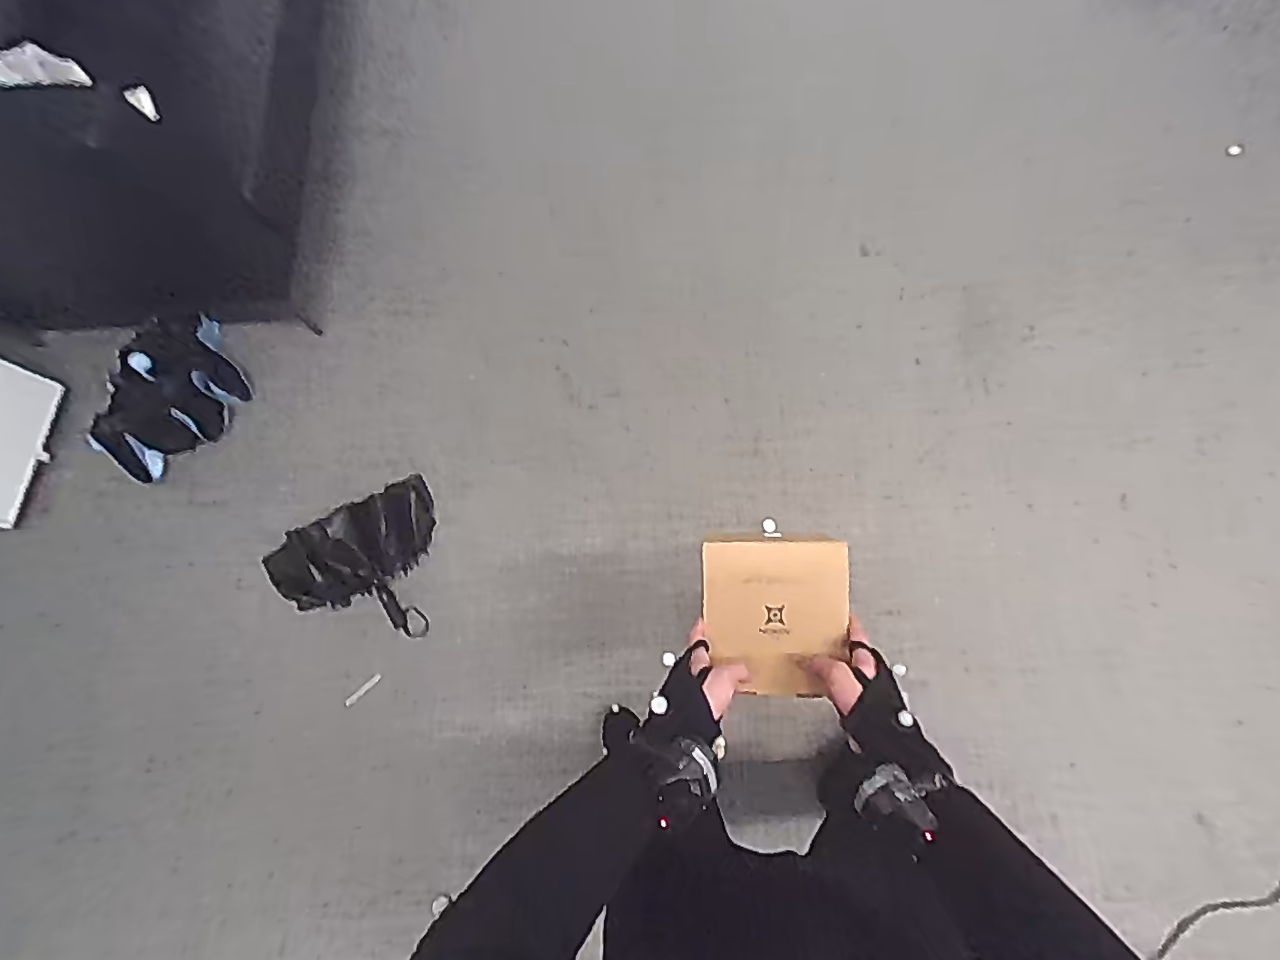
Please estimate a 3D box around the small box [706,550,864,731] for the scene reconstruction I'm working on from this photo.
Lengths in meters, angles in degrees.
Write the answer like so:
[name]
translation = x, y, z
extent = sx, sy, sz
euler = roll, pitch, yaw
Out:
[small box]
translation = 0.167, 0.183, 0.665
extent = 0.168, 0.176, 0.179
euler = -1, 88, 6
